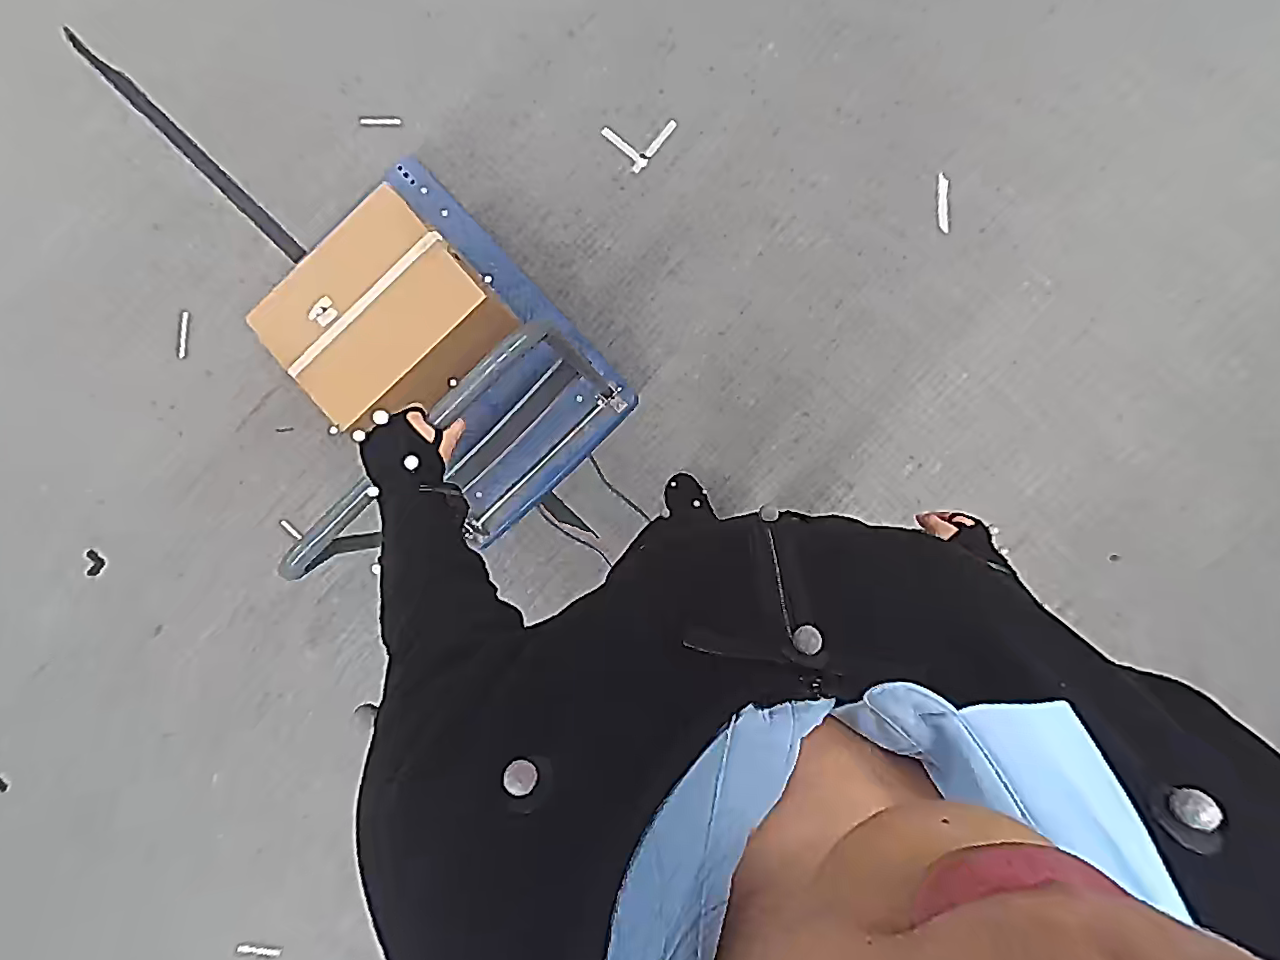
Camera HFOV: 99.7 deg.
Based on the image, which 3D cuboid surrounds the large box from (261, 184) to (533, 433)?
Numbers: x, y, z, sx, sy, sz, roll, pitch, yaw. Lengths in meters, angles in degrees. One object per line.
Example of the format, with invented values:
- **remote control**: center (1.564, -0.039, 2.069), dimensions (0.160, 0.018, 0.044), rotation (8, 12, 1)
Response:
- **large box**: center (-0.522, -0.355, 1.235), dimensions (0.408, 0.320, 0.320), rotation (-41, 86, 6)
